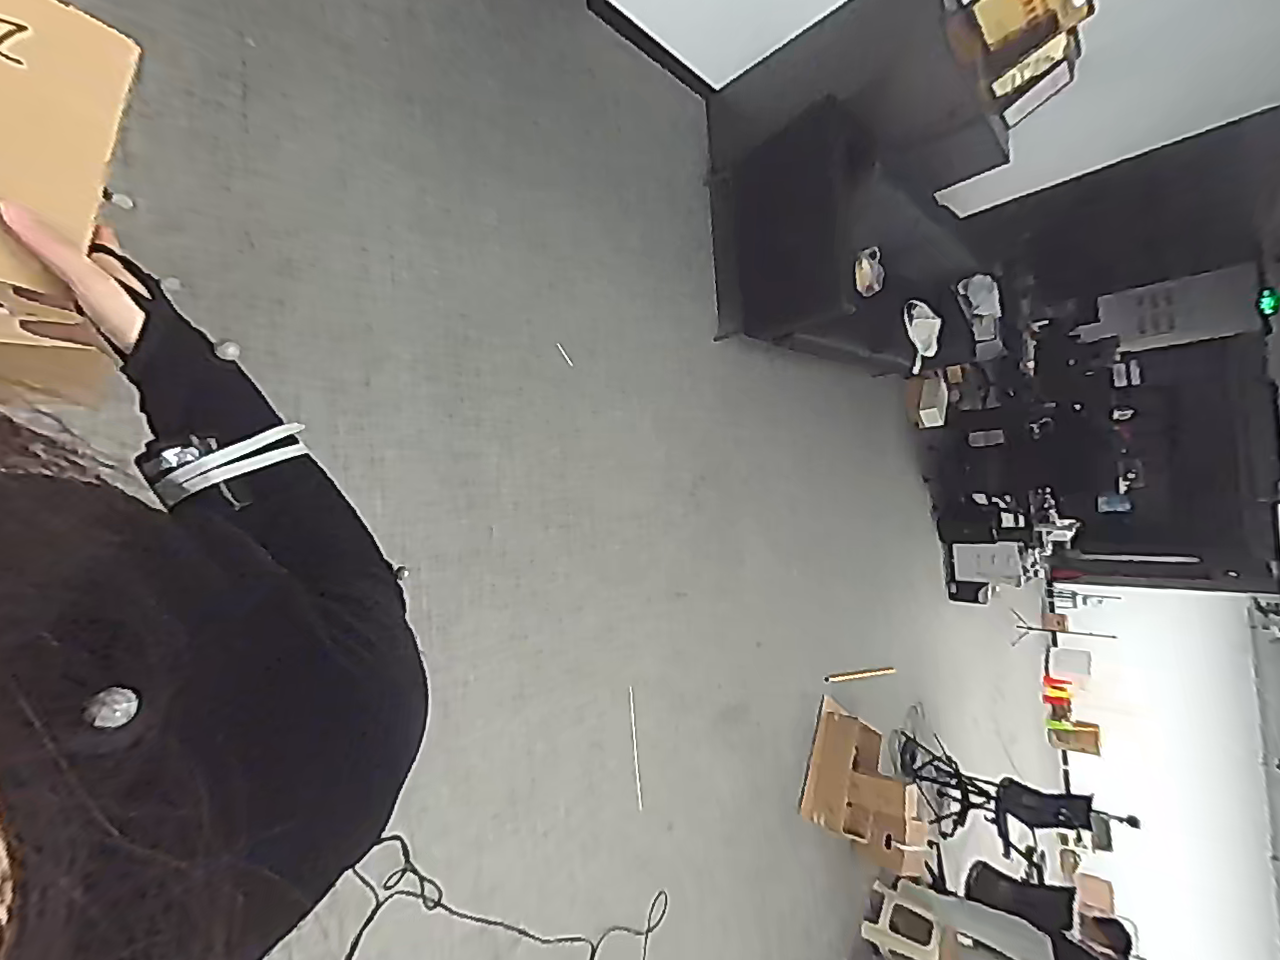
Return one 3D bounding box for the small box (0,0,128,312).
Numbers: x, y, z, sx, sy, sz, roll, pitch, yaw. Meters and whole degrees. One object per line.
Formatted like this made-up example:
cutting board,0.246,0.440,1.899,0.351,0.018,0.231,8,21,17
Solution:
small box,-0.472,-0.235,0.359,0.168,0.176,0.179,14,99,-47
